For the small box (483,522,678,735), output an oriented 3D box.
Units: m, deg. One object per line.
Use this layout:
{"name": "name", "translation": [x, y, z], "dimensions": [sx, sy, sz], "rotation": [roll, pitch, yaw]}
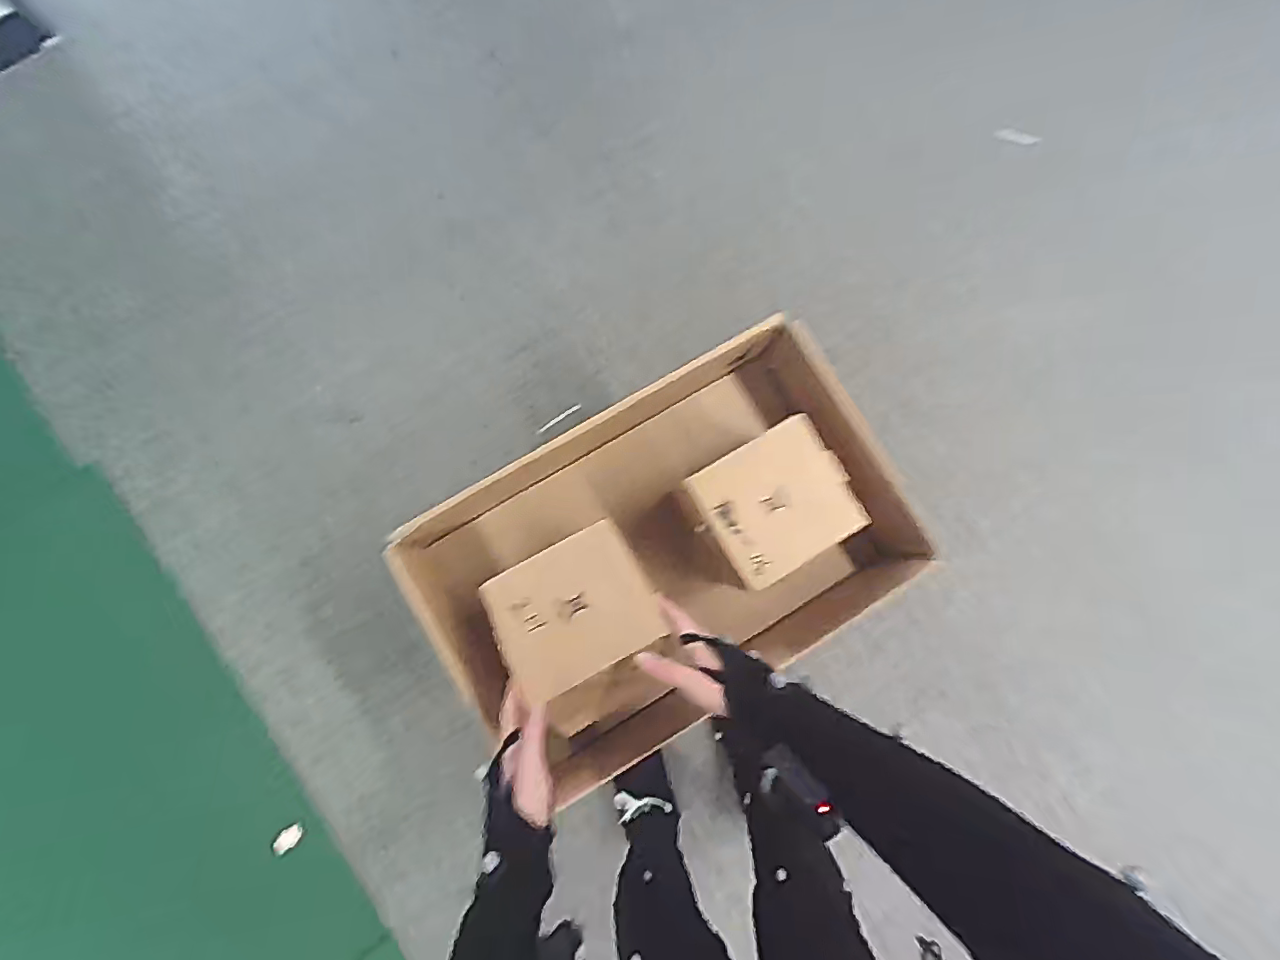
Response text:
{"name": "small box", "translation": [-0.064, 0.189, 0.674], "dimensions": [0.179, 0.176, 0.168], "rotation": [-28, 55, -7]}
